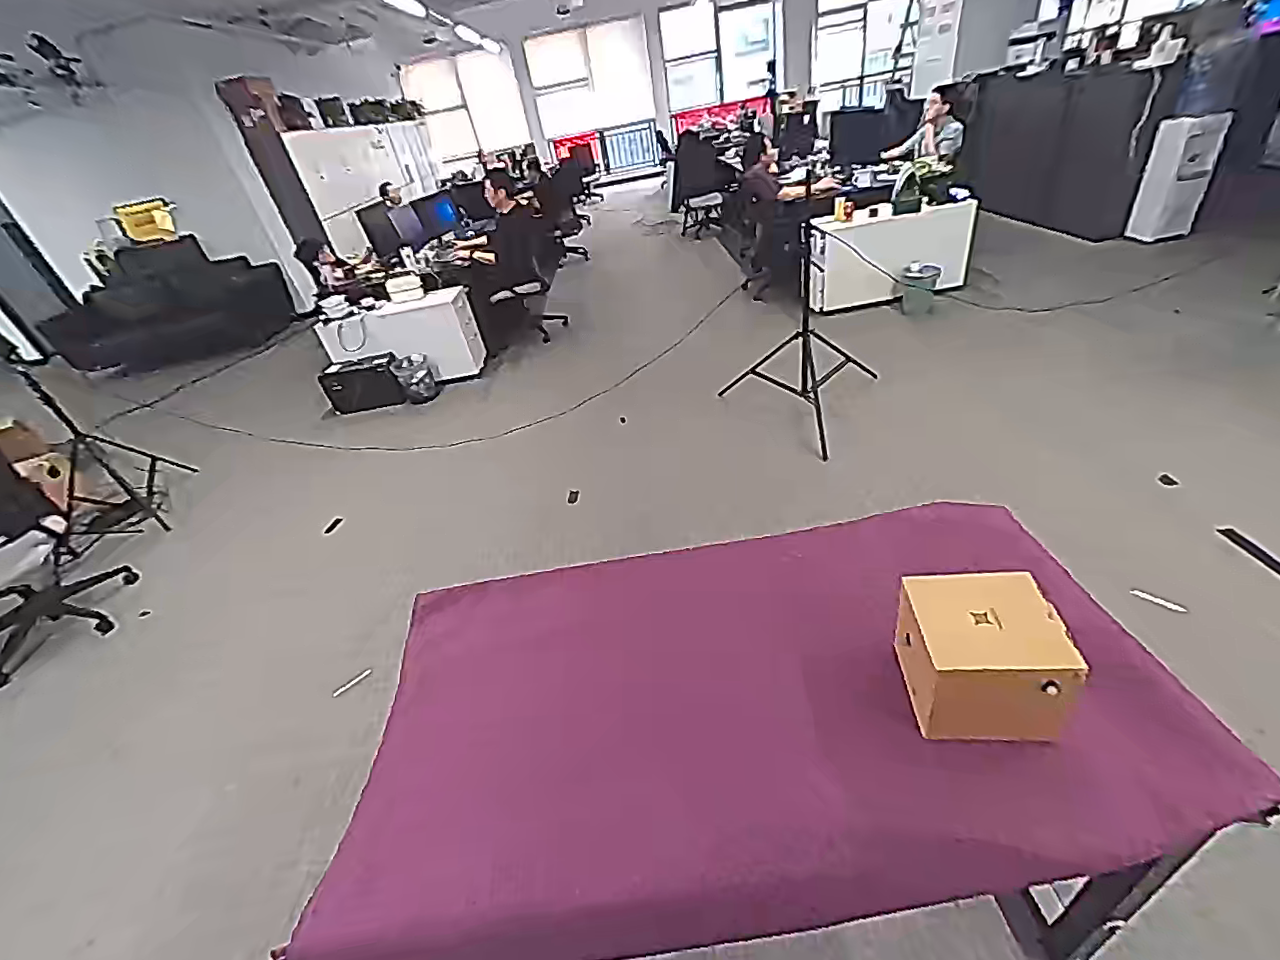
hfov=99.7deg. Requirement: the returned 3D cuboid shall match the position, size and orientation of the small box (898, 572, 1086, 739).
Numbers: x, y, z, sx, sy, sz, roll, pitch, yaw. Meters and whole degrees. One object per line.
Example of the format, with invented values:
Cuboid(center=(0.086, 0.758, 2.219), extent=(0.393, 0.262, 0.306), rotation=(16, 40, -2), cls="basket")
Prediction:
Cuboid(center=(0.485, 0.254, 0.781), extent=(0.179, 0.176, 0.168), rotation=(-5, 35, 11), cls="small box")
